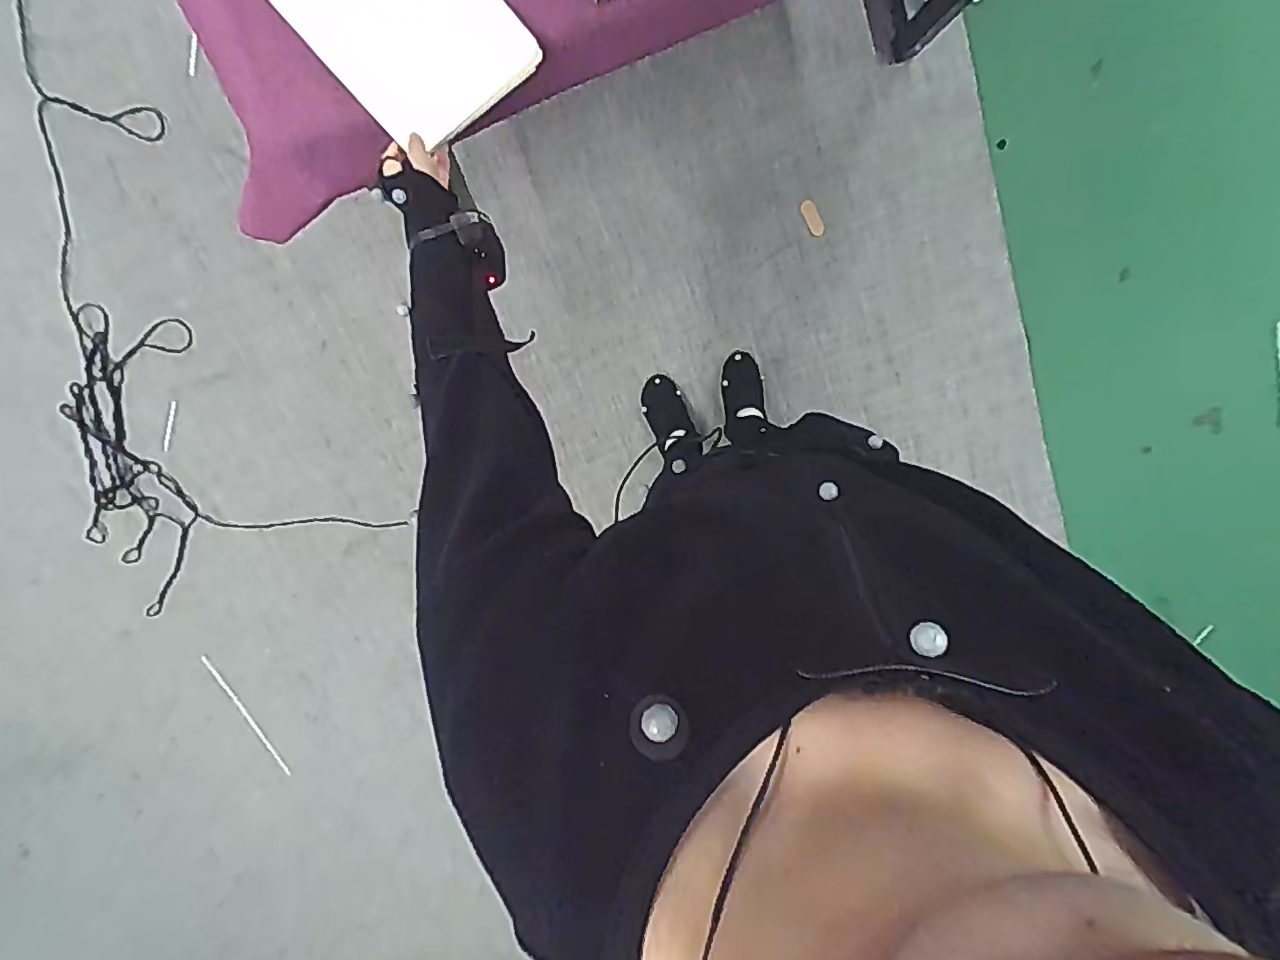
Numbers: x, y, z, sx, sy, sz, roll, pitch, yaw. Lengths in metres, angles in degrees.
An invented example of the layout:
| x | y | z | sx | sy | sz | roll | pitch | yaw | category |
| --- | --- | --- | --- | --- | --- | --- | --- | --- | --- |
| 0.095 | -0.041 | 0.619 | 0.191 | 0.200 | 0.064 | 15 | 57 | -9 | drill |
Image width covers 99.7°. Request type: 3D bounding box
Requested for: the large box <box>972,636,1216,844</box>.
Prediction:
| x | y | z | sx | sy | sz | roll | pitch | yaw | category |
| --- | --- | --- | --- | --- | --- | --- | --- | --- | --- |
| 1.305 | 0.746 | 1.593 | 0.408 | 0.320 | 0.320 | -35 | 104 | 6 | large box |
